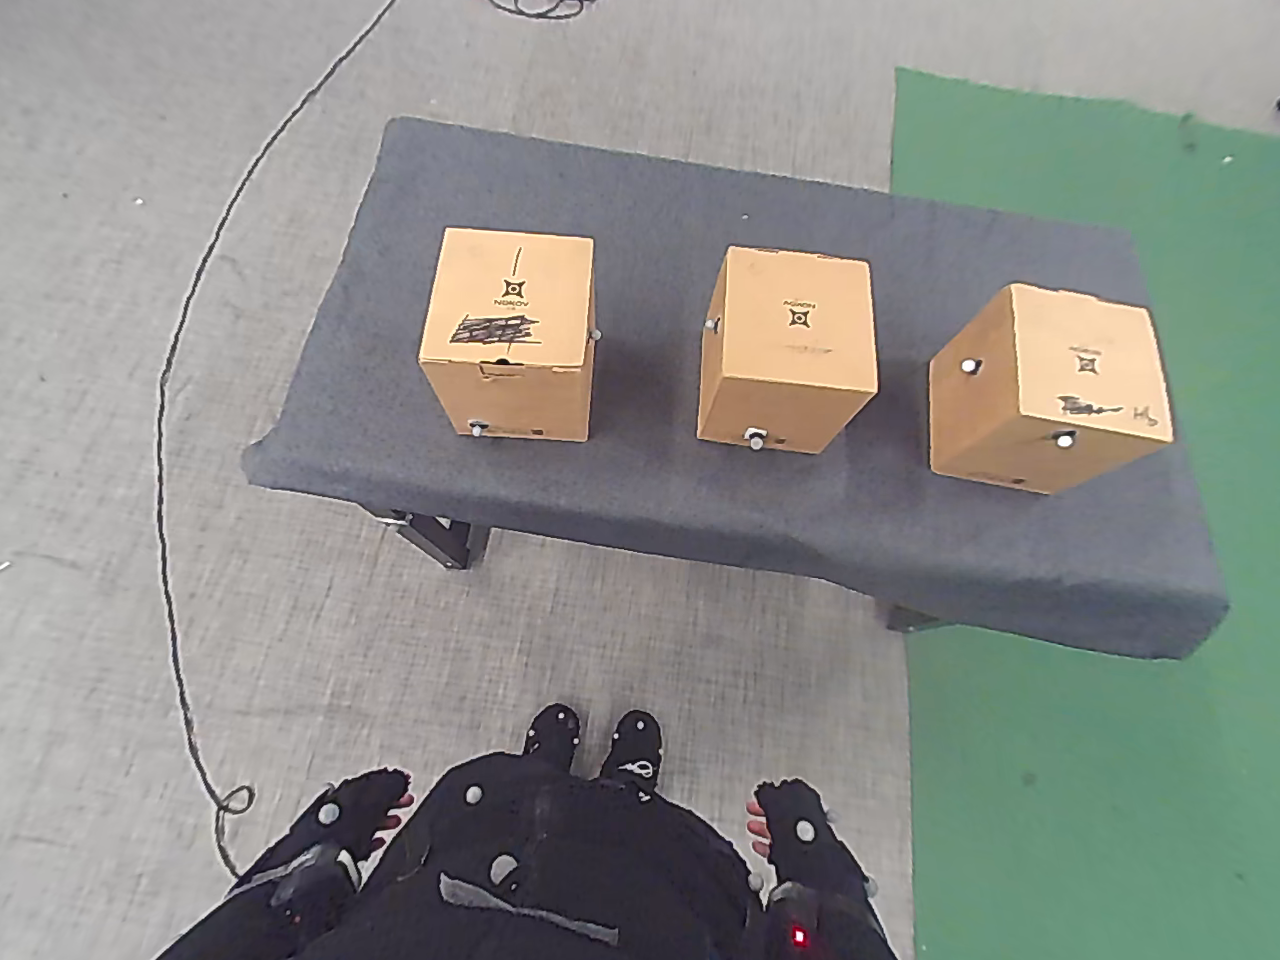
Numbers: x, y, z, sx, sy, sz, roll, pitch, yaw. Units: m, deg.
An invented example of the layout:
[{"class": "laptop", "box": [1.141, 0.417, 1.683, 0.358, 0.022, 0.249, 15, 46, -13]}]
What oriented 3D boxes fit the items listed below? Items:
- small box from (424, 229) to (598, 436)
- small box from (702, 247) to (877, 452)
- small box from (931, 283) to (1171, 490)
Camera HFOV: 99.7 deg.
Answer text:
[{"class": "small box", "box": [-0.138, -0.166, 0.649, 0.168, 0.176, 0.179, 3, 68, -3]}, {"class": "small box", "box": [0.171, -0.153, 0.669, 0.168, 0.176, 0.179, 5, 70, 0]}, {"class": "small box", "box": [0.484, -0.107, 0.670, 0.168, 0.176, 0.179, 10, 69, 1]}]
